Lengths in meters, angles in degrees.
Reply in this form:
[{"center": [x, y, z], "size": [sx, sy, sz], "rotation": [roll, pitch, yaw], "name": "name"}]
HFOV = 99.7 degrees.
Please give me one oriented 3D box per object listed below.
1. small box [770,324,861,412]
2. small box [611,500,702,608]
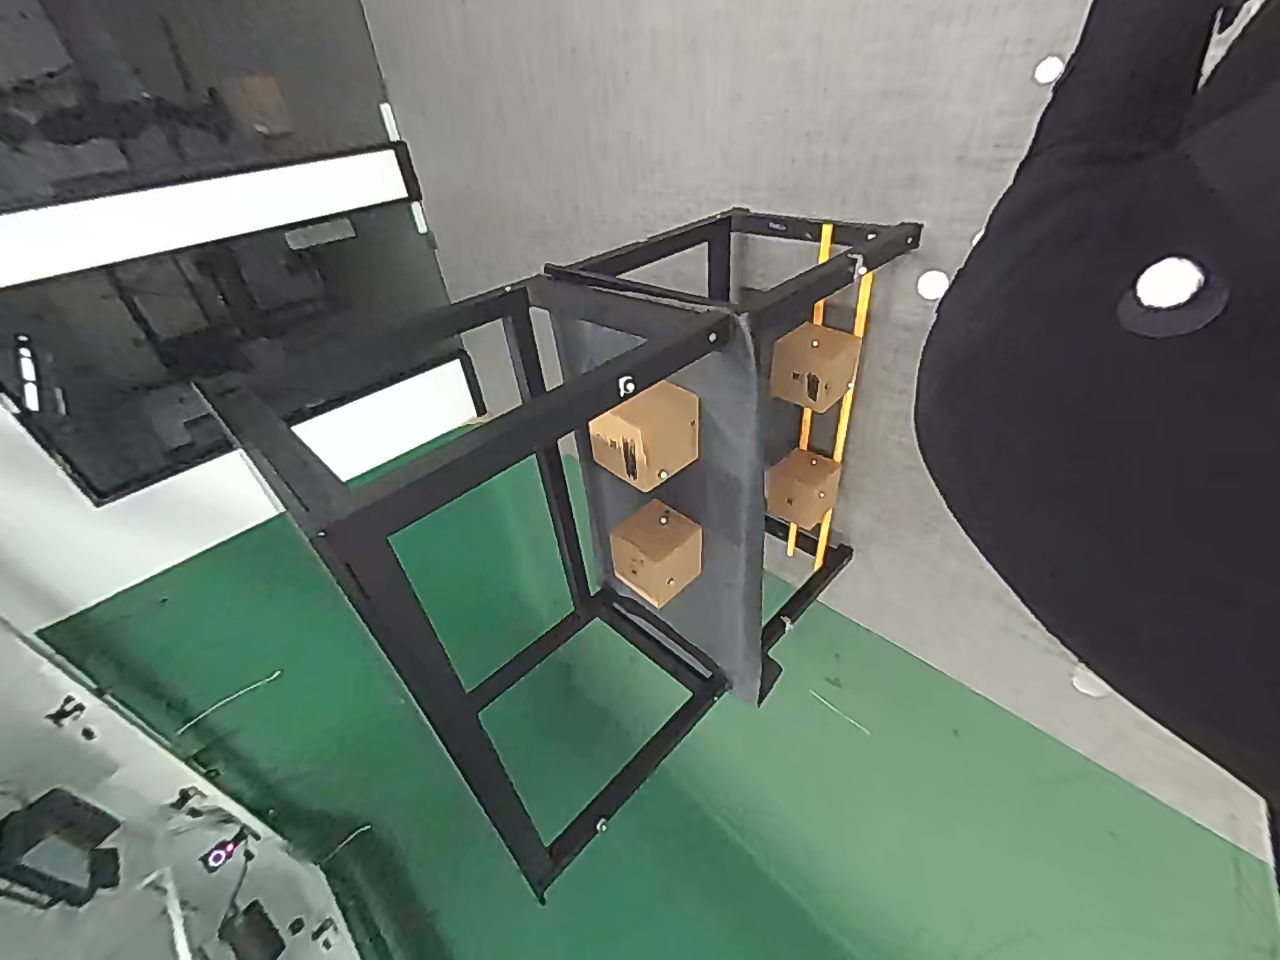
[{"center": [0.492, -0.321, 1.520], "size": [0.179, 0.176, 0.168], "rotation": [30, 140, 34], "name": "small box"}, {"center": [0.046, 0.186, 1.394], "size": [0.168, 0.176, 0.179], "rotation": [31, 140, 34], "name": "small box"}]
